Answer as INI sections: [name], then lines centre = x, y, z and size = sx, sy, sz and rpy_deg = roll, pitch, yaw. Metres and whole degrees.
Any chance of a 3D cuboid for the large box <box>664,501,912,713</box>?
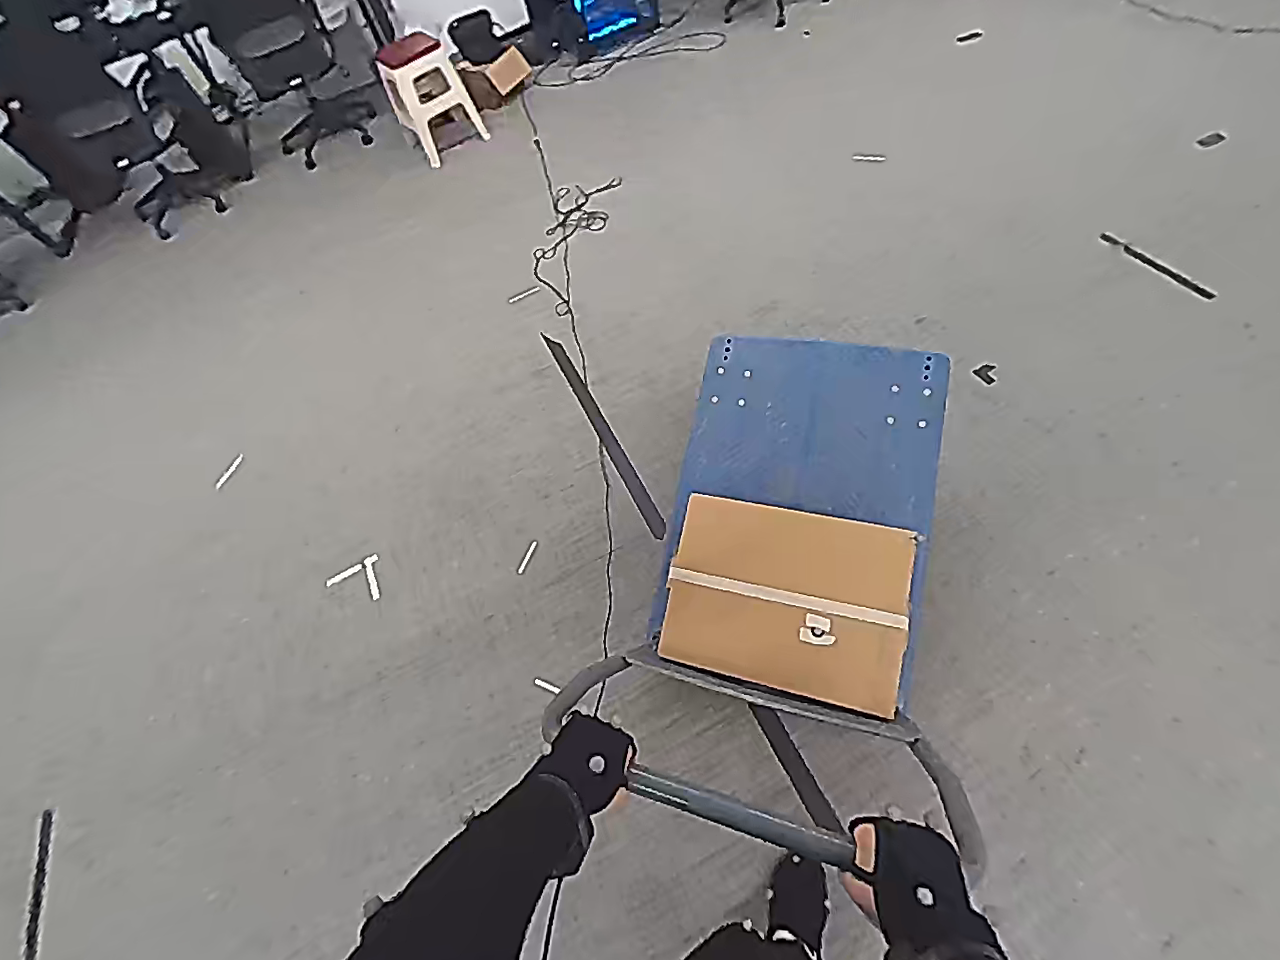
[large box]
centre = 0.294, 0.249, 1.113
size = 0.408, 0.320, 0.320
rpy_deg = 9, 79, 17
